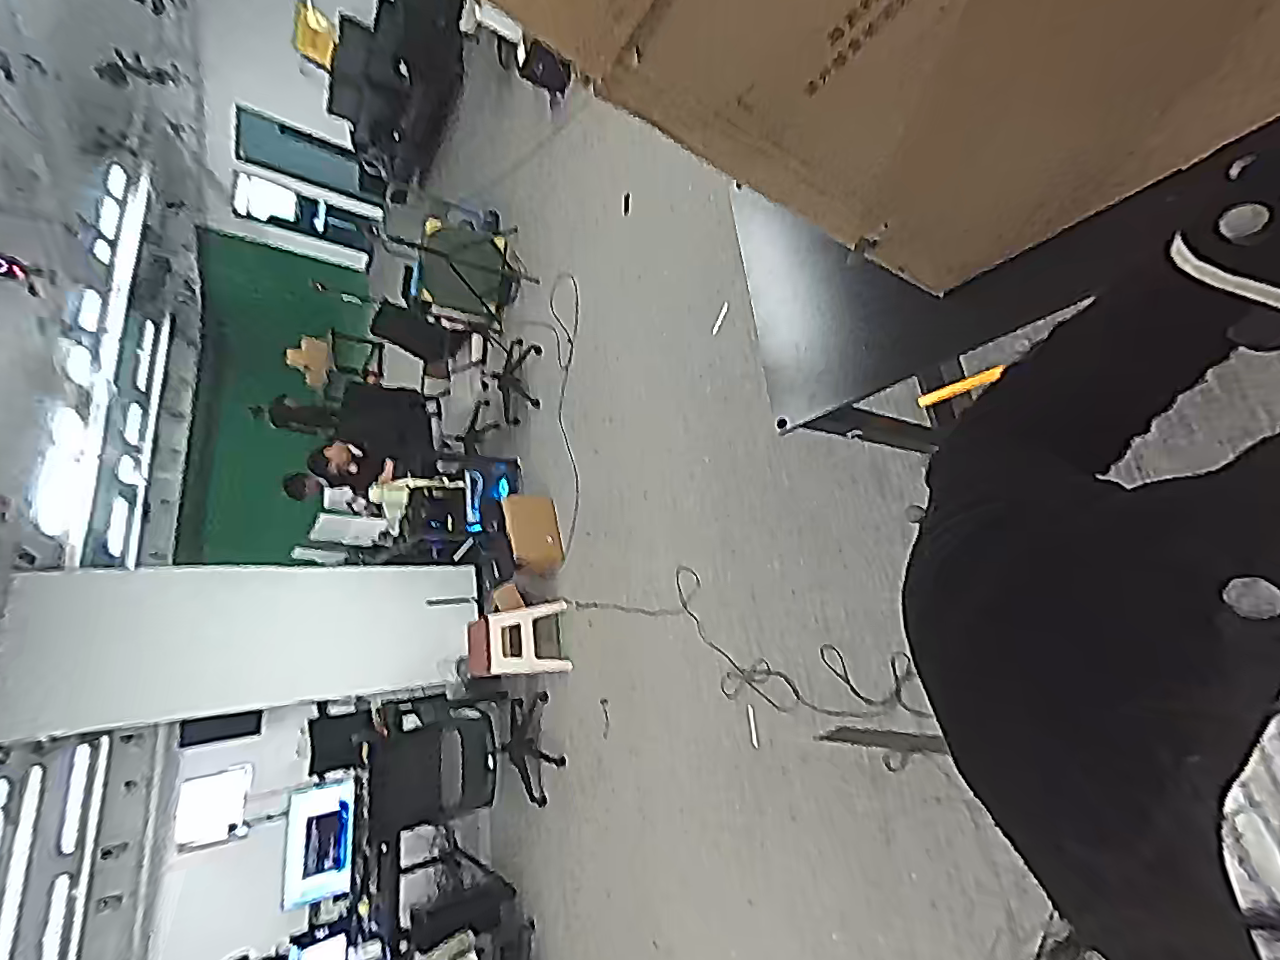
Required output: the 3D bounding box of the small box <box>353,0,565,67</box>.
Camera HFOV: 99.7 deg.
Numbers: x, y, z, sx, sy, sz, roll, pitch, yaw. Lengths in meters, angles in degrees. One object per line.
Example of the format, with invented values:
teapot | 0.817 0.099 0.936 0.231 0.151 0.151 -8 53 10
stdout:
small box | -0.109 -0.370 0.282 0.168 0.176 0.179 -30 65 45
